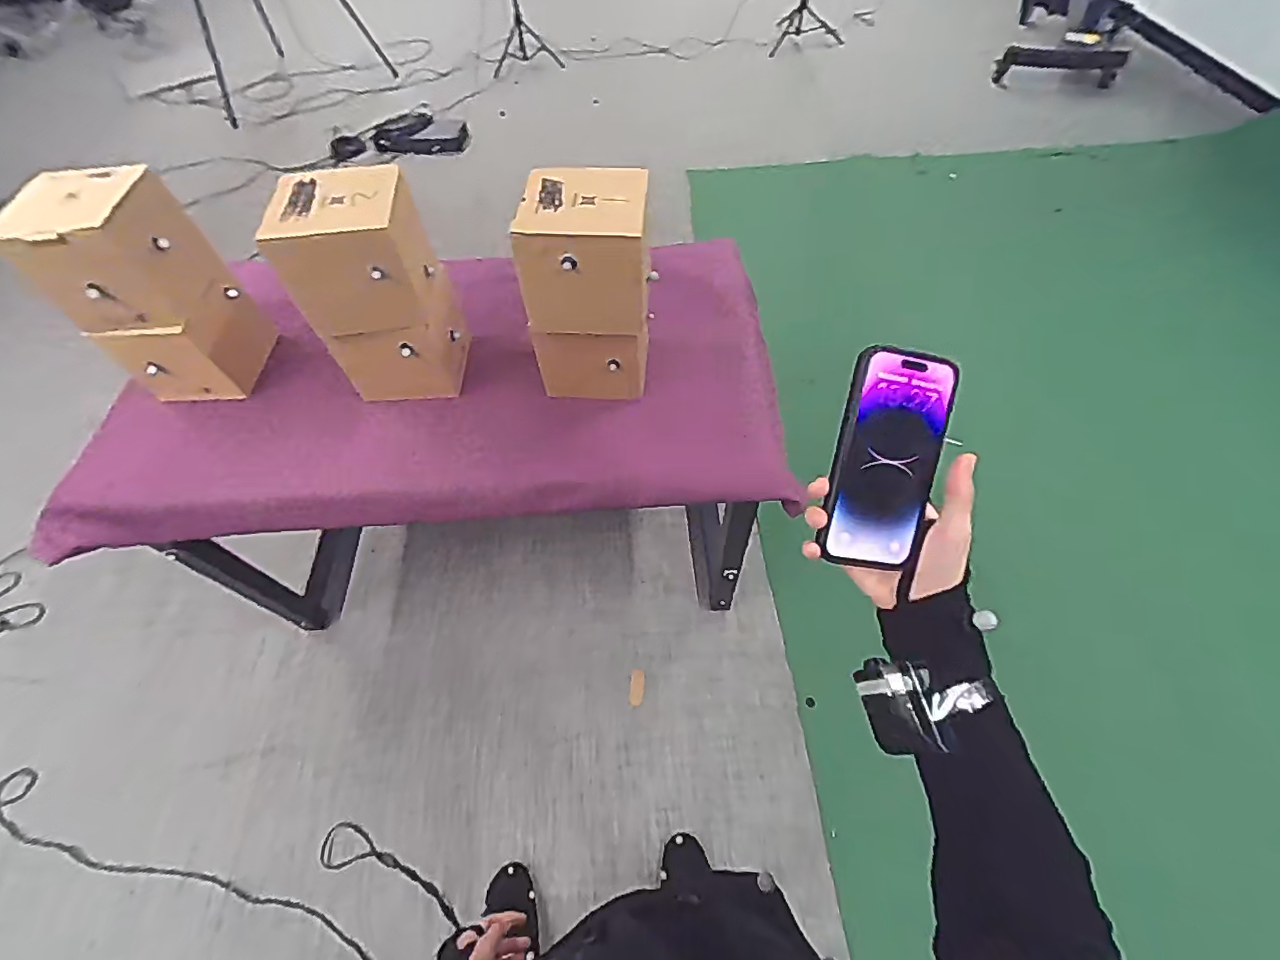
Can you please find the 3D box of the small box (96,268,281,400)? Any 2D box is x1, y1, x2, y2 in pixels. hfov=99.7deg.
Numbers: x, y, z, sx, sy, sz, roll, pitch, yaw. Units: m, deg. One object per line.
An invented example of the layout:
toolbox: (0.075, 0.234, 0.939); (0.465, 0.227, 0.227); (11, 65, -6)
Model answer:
small box: (-0.804, -0.260, 0.990); (0.168, 0.176, 0.179); (-1, 57, 1)

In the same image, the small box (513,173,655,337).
small box: (-0.071, -0.332, 0.809); (0.179, 0.176, 0.168); (3, 57, 4)

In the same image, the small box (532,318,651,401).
small box: (-0.073, -0.255, 0.954); (0.179, 0.176, 0.168); (3, 57, 5)

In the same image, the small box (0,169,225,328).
small box: (-0.811, -0.357, 0.857); (0.168, 0.176, 0.179); (-5, 58, -2)

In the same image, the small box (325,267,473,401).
small box: (-0.414, -0.256, 0.968); (0.179, 0.176, 0.168); (-2, 57, 1)
